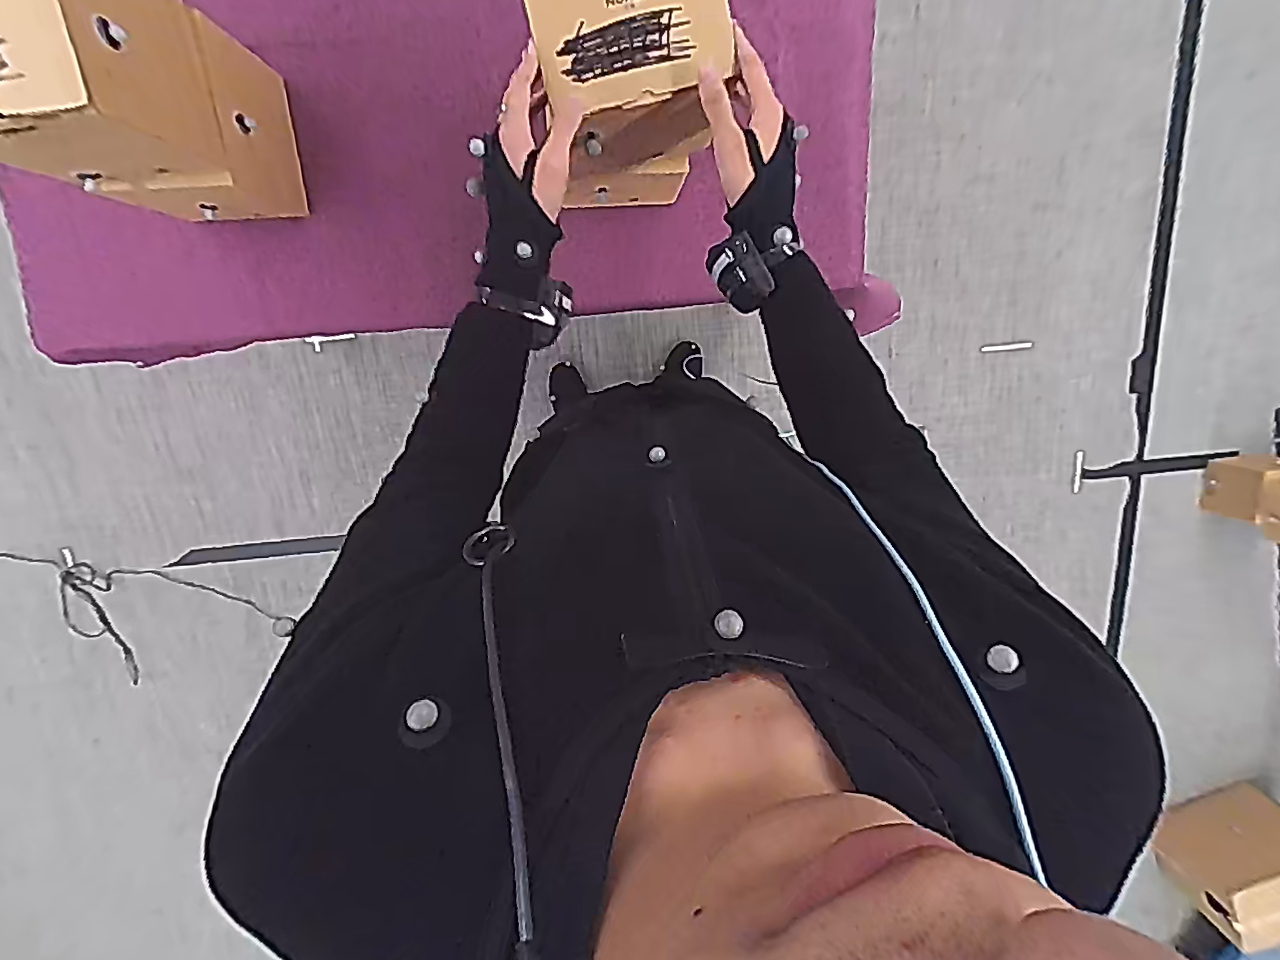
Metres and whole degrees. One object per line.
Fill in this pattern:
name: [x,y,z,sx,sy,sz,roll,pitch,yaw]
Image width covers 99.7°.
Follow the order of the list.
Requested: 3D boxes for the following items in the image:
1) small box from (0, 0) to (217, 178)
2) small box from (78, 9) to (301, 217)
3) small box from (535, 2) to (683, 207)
small box: [-0.549,-0.400,0.504,0.168,0.176,0.179,-8,105,-2]
small box: [-0.554,-0.431,0.666,0.168,0.176,0.179,-3,105,-3]
small box: [-0.034,-0.460,0.693,0.168,0.176,0.179,-3,104,-2]
